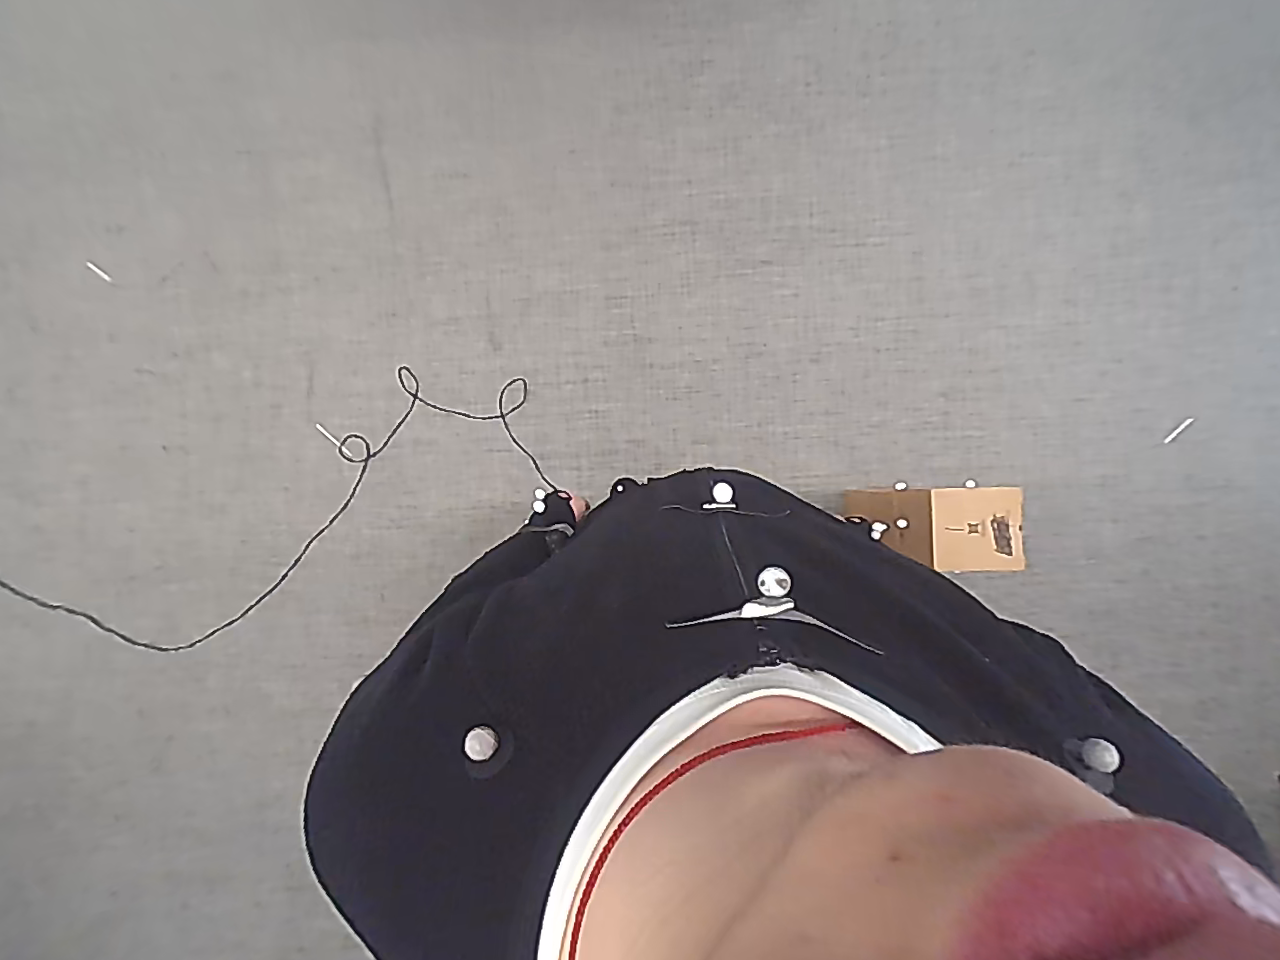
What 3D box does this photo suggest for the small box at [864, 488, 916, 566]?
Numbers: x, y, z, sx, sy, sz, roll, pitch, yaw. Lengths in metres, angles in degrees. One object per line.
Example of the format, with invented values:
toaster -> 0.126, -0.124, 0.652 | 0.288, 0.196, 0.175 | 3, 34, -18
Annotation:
small box -> 0.658, 0.107, 1.313 | 0.168, 0.176, 0.179 | -3, 92, 2

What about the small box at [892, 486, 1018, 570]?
small box -> 0.660, 0.096, 1.147 | 0.179, 0.176, 0.168 | -1, 89, 2

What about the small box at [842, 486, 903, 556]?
small box -> 0.662, 0.108, 1.474 | 0.168, 0.176, 0.179 | -1, 90, 1
